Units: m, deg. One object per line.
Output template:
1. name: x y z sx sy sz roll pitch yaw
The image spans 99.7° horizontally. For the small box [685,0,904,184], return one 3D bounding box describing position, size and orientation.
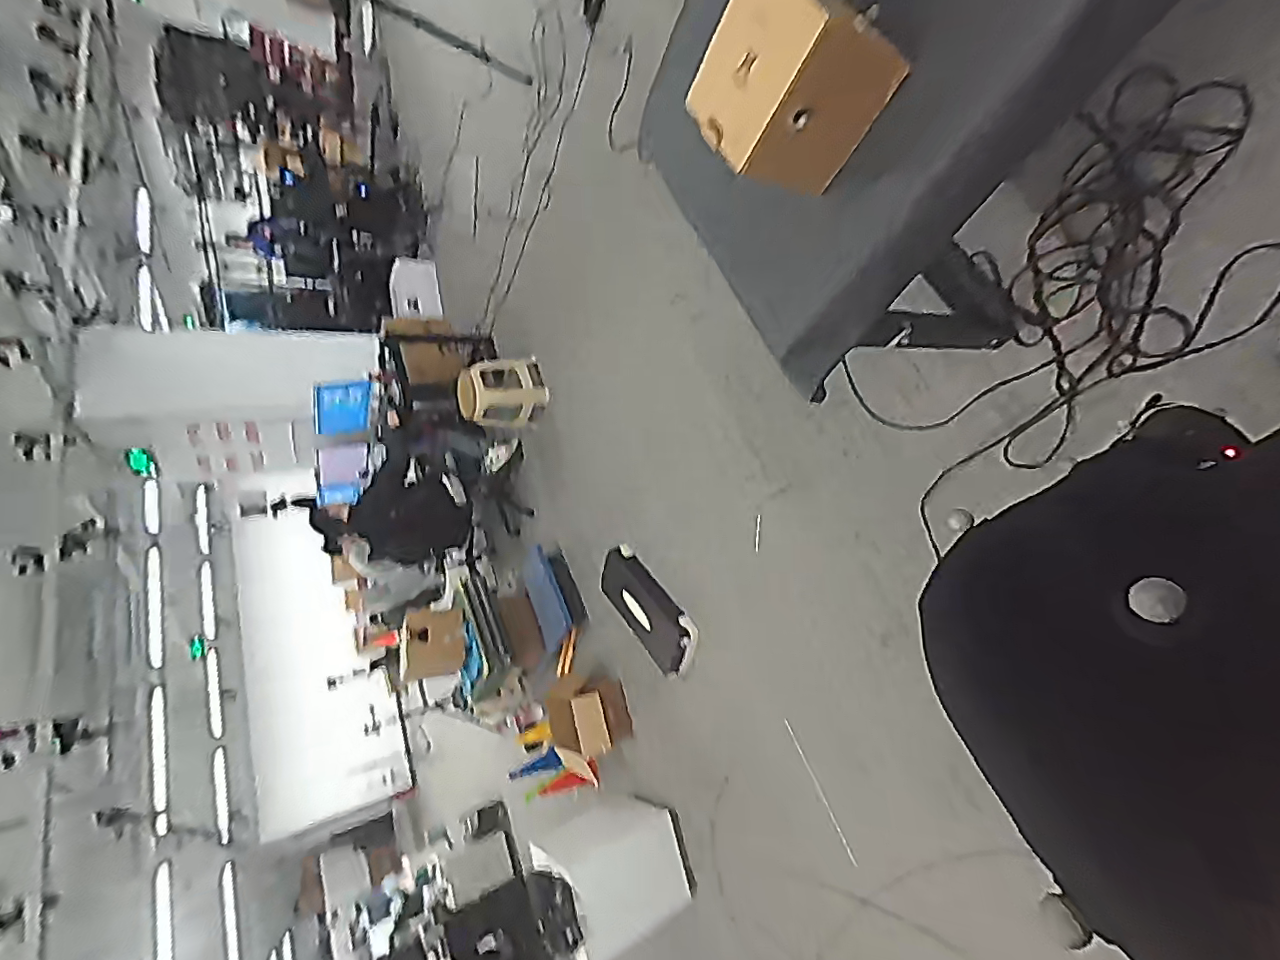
1. small box: 0.194 -0.519 0.700 0.179 0.176 0.168 -52 55 47
